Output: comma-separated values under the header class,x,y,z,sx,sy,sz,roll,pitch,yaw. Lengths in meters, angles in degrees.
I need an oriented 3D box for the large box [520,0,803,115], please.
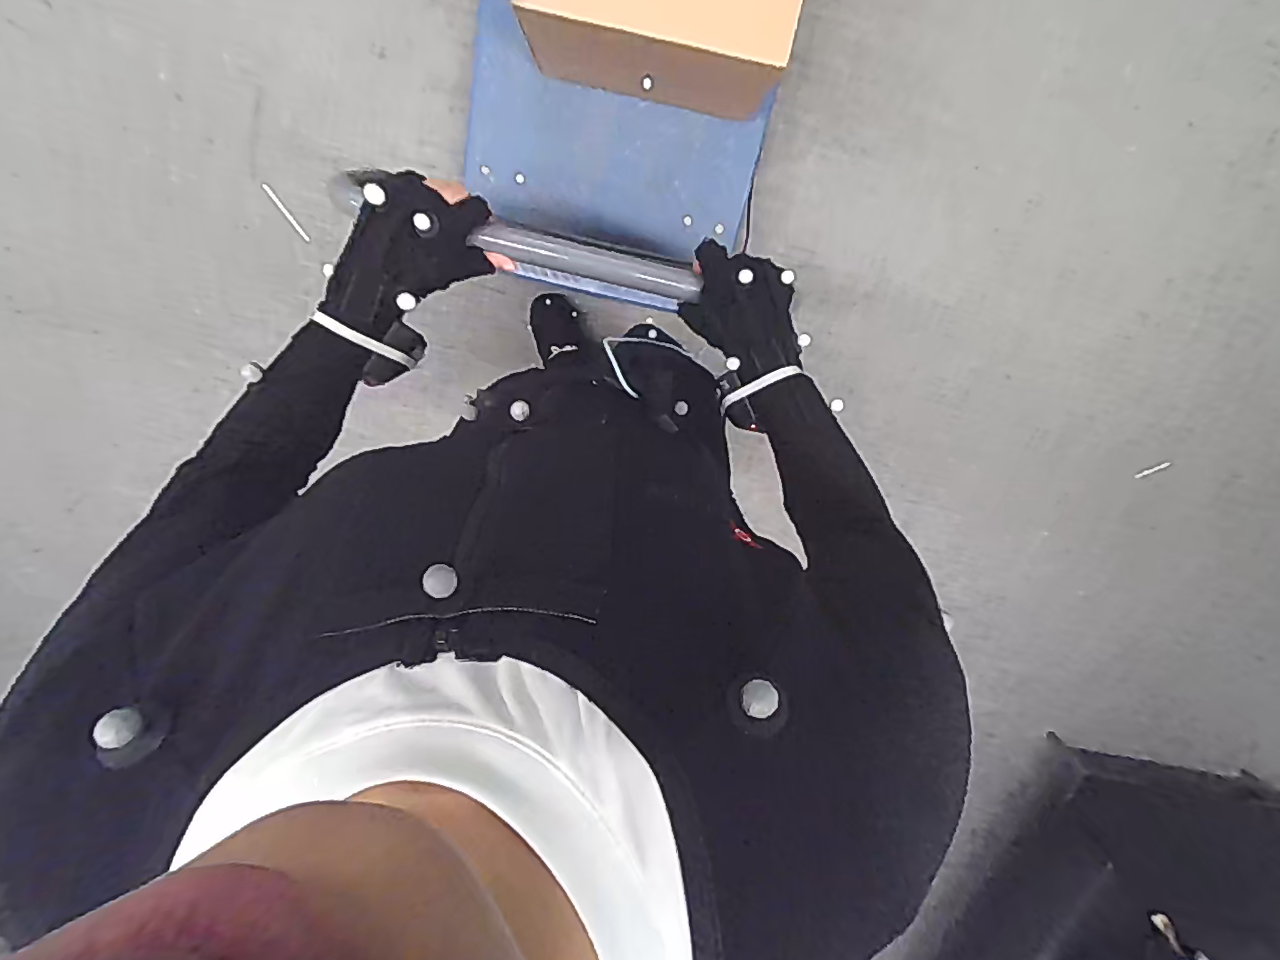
class,x,y,z,sx,sy,sz,roll,pitch,yaw
large box,0.047,-0.832,0.866,0.408,0.320,0.320,9,110,-5
